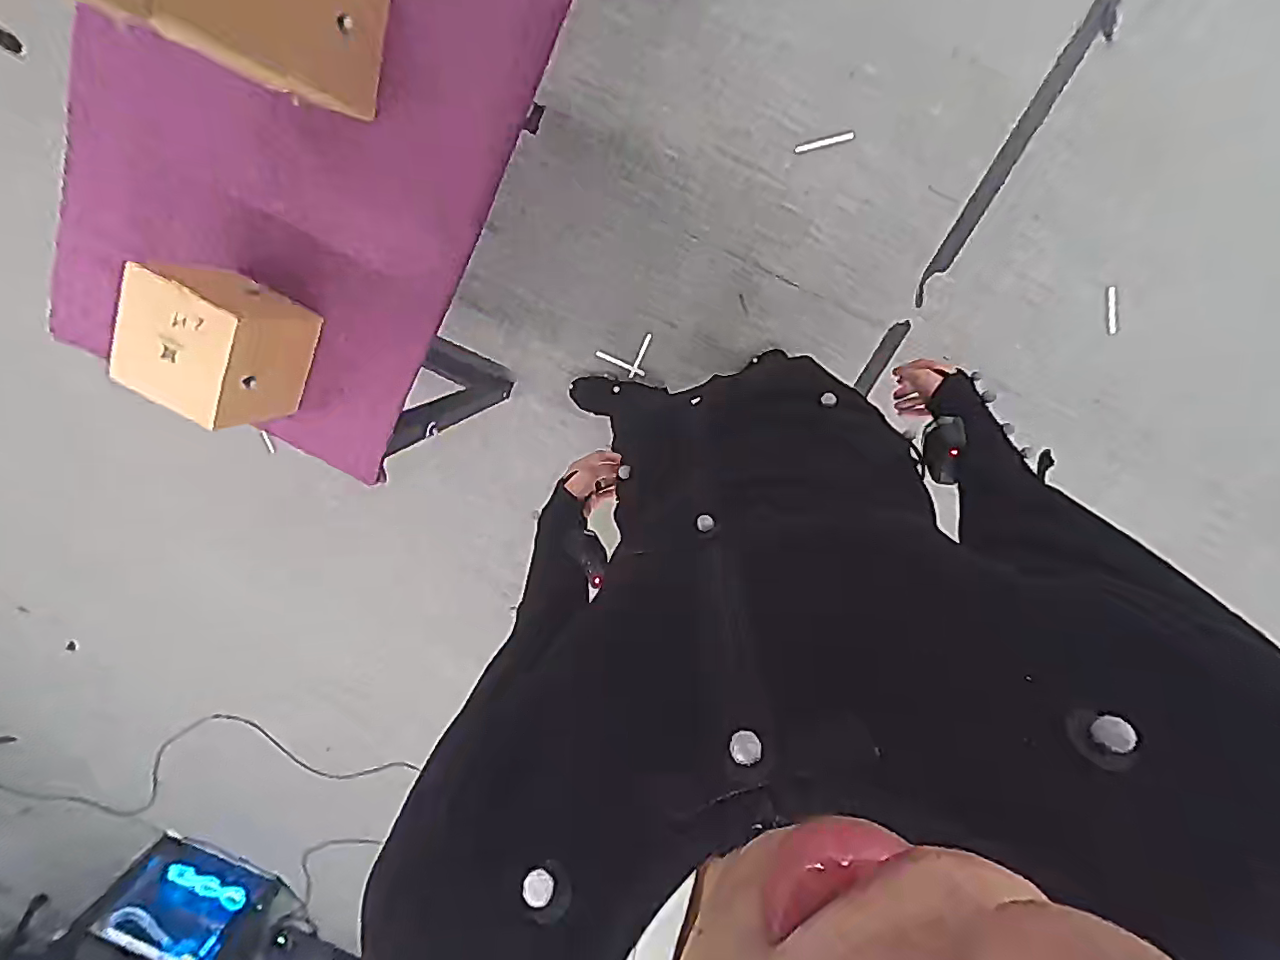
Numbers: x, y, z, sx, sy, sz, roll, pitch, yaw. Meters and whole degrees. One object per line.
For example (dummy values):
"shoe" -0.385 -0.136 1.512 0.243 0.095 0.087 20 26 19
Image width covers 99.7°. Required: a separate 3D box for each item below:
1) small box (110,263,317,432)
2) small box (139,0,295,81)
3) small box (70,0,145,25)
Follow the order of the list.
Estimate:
"small box" -0.628 -0.199 0.815 0.168 0.176 0.179 28 107 -2
"small box" -0.462 -0.534 0.522 0.168 0.176 0.179 23 108 -1
"small box" -0.481 -0.477 0.369 0.168 0.176 0.179 23 108 0
